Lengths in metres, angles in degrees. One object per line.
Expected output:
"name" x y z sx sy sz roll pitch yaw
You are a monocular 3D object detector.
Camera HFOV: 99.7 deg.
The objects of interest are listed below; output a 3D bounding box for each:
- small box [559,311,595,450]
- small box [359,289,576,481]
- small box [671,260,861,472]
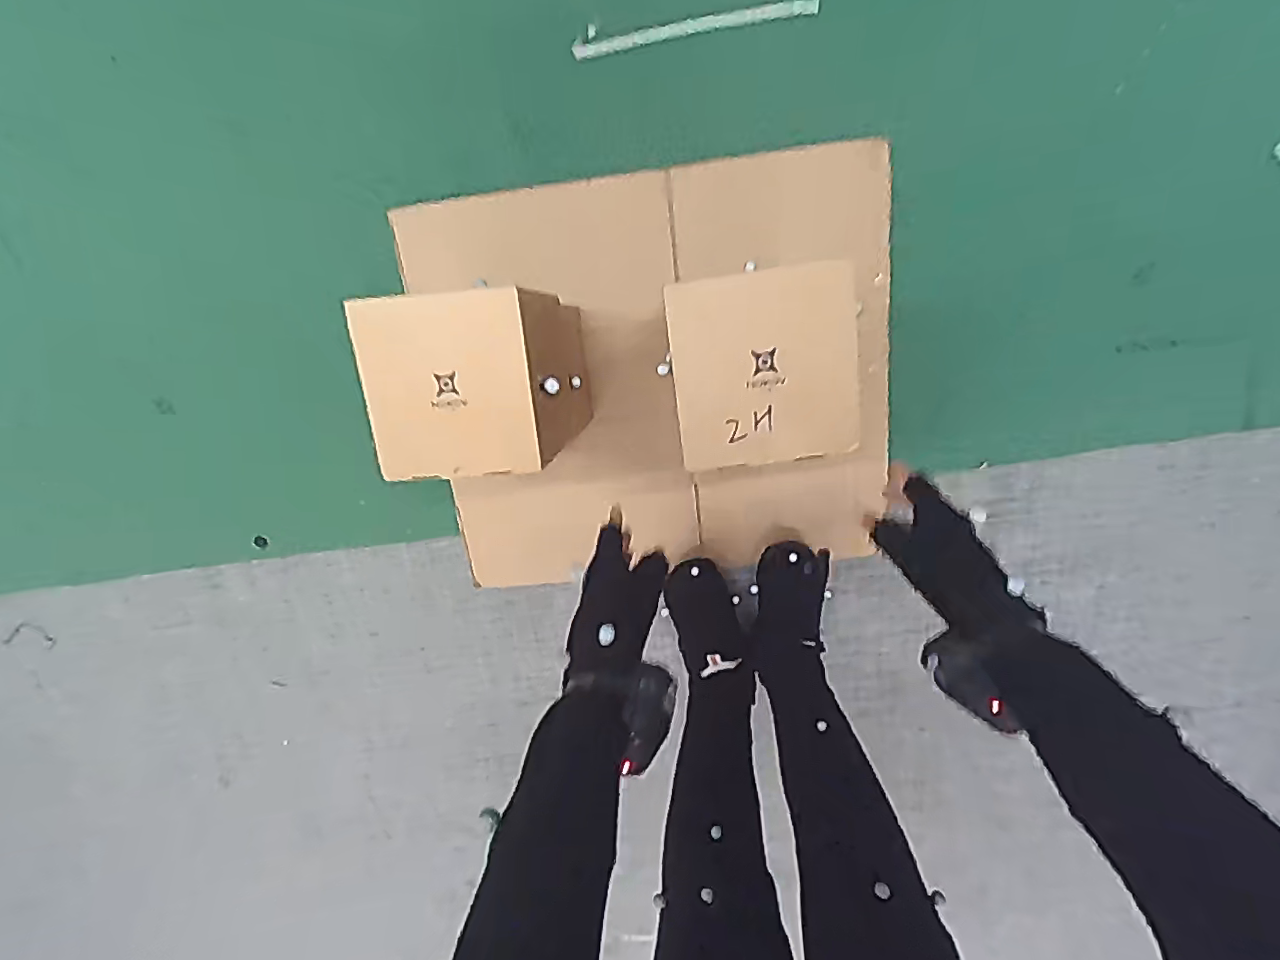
"small box" -0.162 -0.140 0.754 0.168 0.176 0.179 -4 105 6
"small box" -0.171 -0.107 0.595 0.168 0.176 0.179 -3 106 5
"small box" 0.122 -0.118 0.569 0.168 0.176 0.179 -6 105 7
